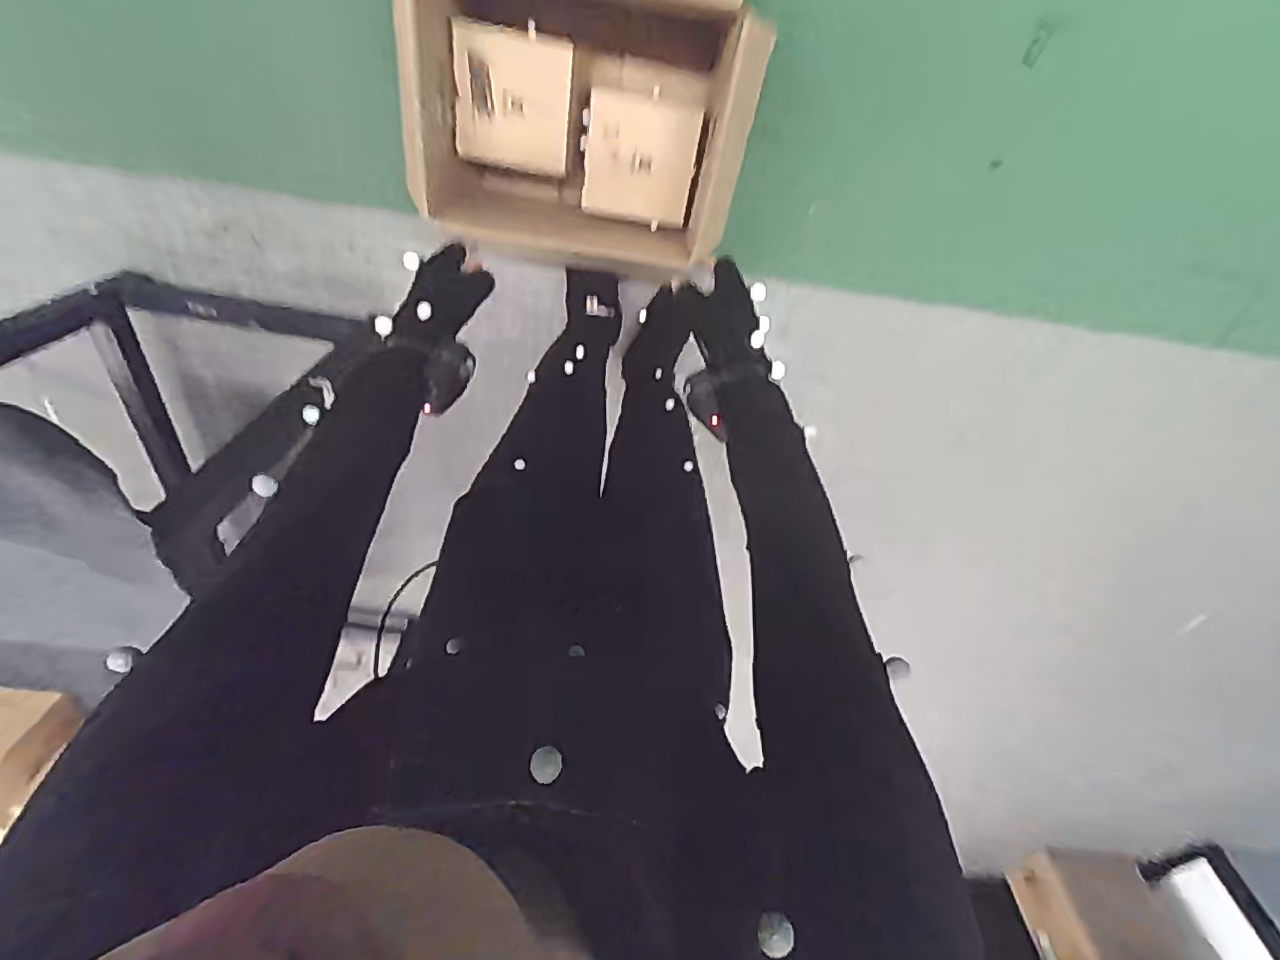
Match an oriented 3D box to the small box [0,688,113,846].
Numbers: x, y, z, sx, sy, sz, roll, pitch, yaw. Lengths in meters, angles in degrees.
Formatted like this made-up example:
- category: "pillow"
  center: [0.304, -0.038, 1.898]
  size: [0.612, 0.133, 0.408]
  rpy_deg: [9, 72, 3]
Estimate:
- category: "small box"
  center: [-1.000, 0.440, 0.839]
  size: [0.168, 0.176, 0.179]
  rpy_deg: [6, 129, -3]
